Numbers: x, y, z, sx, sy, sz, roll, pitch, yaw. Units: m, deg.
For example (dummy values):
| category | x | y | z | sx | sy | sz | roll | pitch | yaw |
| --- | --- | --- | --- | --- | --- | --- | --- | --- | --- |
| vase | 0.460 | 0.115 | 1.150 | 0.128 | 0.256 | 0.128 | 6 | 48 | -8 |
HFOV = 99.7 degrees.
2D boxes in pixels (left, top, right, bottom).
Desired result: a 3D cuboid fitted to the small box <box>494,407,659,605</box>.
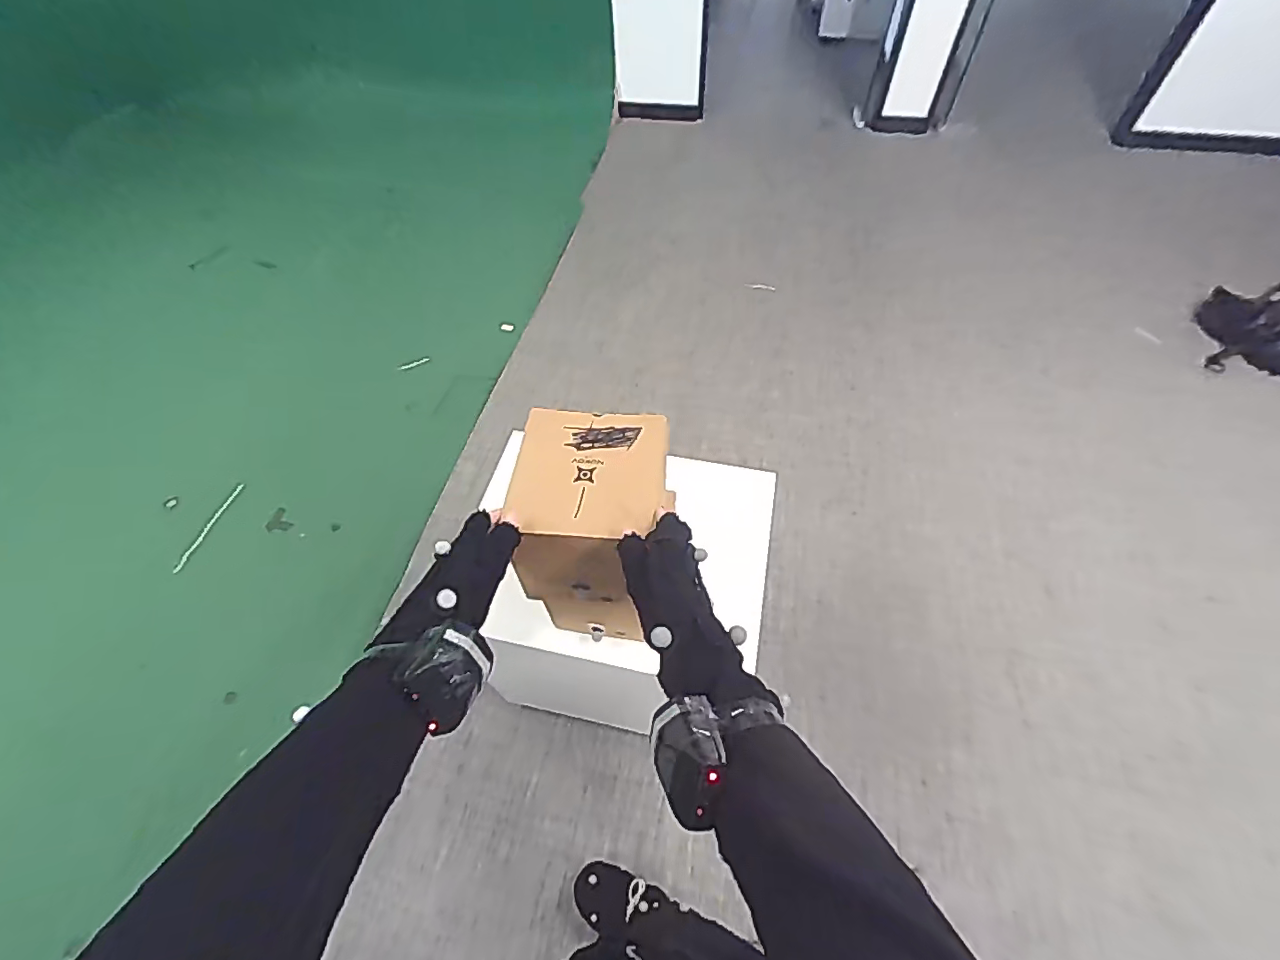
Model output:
| category | x | y | z | sx | sy | sz | roll | pitch | yaw |
| --- | --- | --- | --- | --- | --- | --- | --- | --- | --- |
| small box | -0.062 | 0.032 | 0.654 | 0.168 | 0.176 | 0.179 | 0 | 51 | 3 |

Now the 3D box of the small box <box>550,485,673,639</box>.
| category | x | y | z | sx | sy | sz | roll | pitch | yaw |
| --- | --- | --- | --- | --- | --- | --- | --- | --- | --- |
| small box | -0.042 | 0.117 | 0.800 | 0.168 | 0.176 | 0.179 | 5 | 58 | 8 |
